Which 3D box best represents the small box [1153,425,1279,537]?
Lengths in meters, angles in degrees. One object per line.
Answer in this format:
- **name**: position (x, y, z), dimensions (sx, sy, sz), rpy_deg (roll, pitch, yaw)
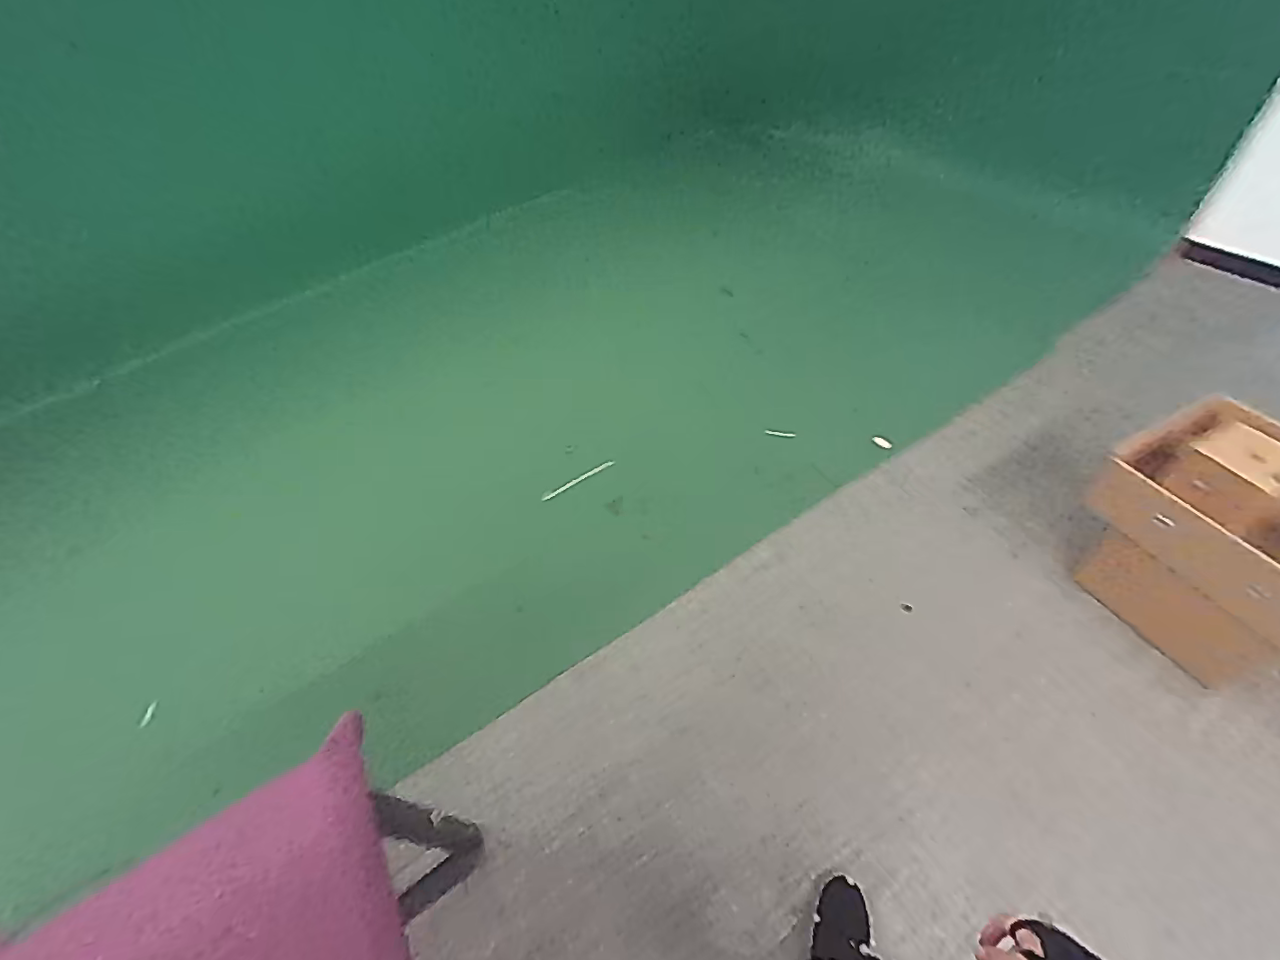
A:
- **small box**: position (1.416, 0.005, 1.302), dimensions (0.168, 0.176, 0.179), rpy_deg (-24, 50, -10)
